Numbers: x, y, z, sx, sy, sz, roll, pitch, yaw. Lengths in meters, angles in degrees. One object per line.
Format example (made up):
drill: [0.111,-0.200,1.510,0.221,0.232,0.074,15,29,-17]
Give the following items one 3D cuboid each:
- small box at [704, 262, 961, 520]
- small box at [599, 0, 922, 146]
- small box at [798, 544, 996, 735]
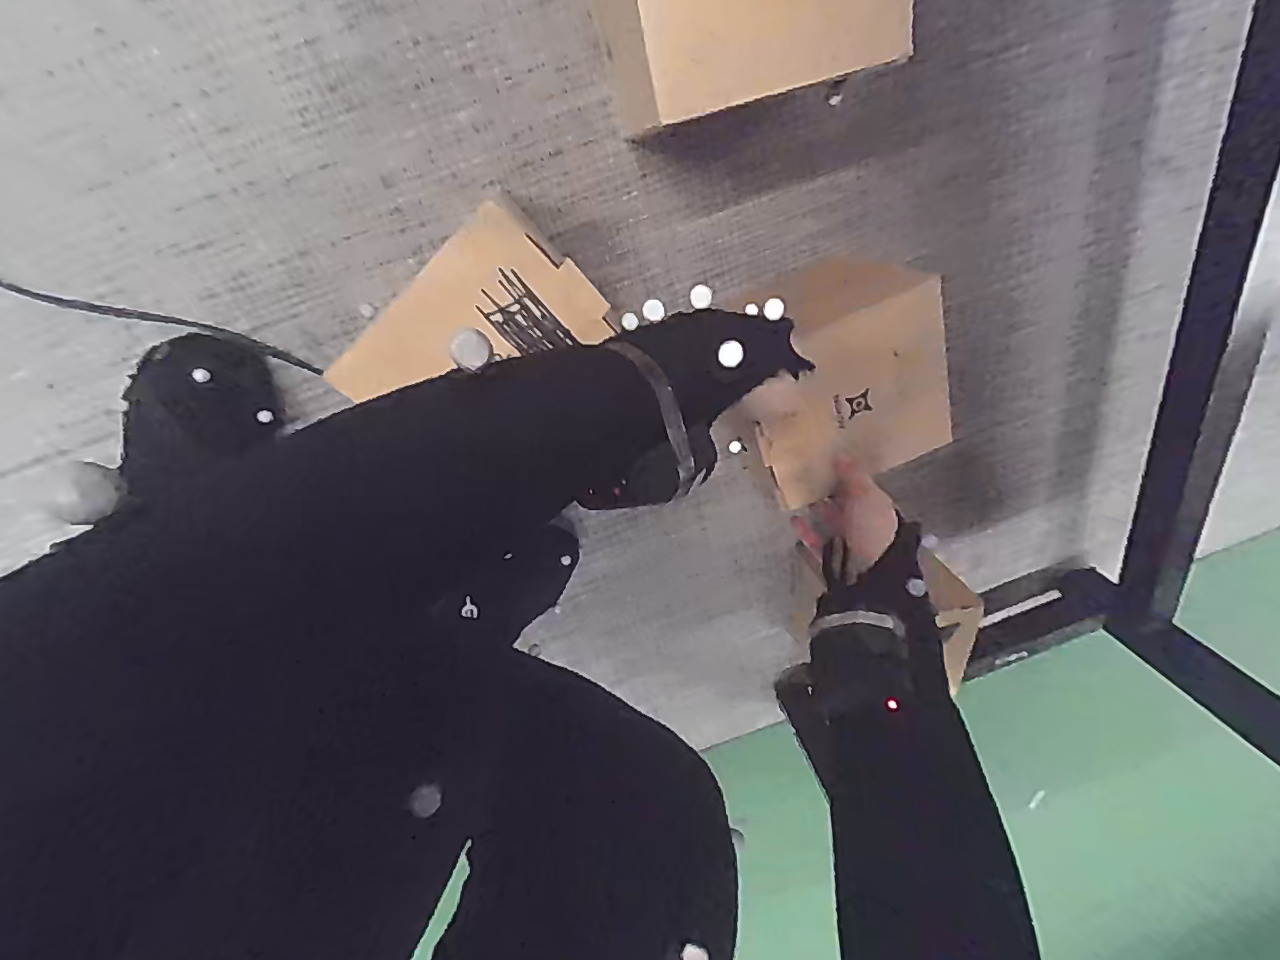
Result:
small box: [0.176,-0.096,0.535,0.179,0.176,0.168,-25,121,2]
small box: [0.065,-0.349,0.375,0.179,0.176,0.168,-17,120,-2]
small box: [0.327,0.202,0.730,0.168,0.176,0.179,-9,122,-6]
